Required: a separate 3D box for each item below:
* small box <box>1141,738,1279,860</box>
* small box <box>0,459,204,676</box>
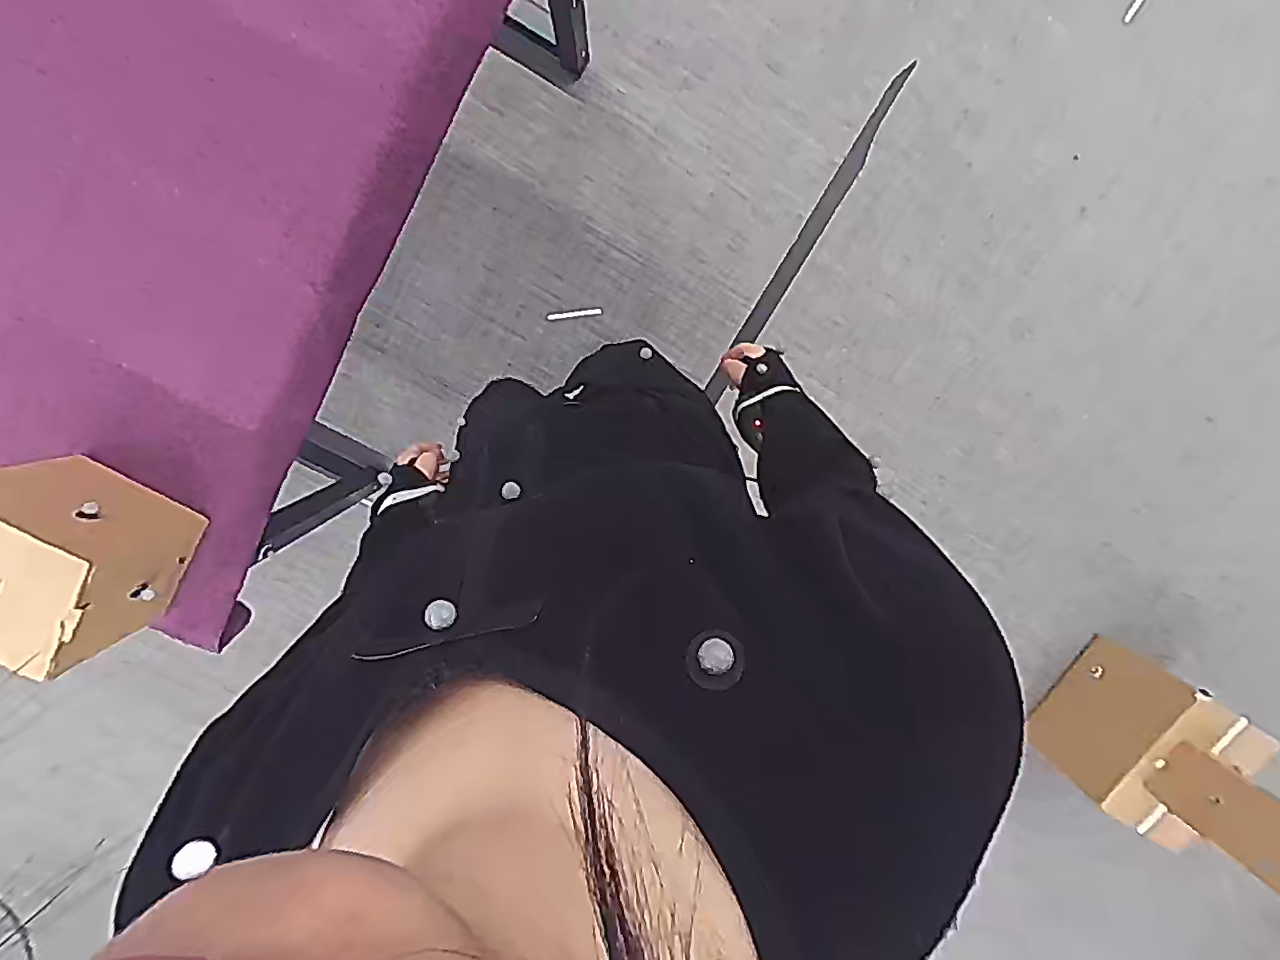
[{"bbox_3d":[1.442,0.794,1.363,0.168,0.176,0.179,28,101,-8],"label":"small box"},{"bbox_3d":[-0.687,0.091,0.650,0.179,0.176,0.168,30,100,-9],"label":"small box"}]
